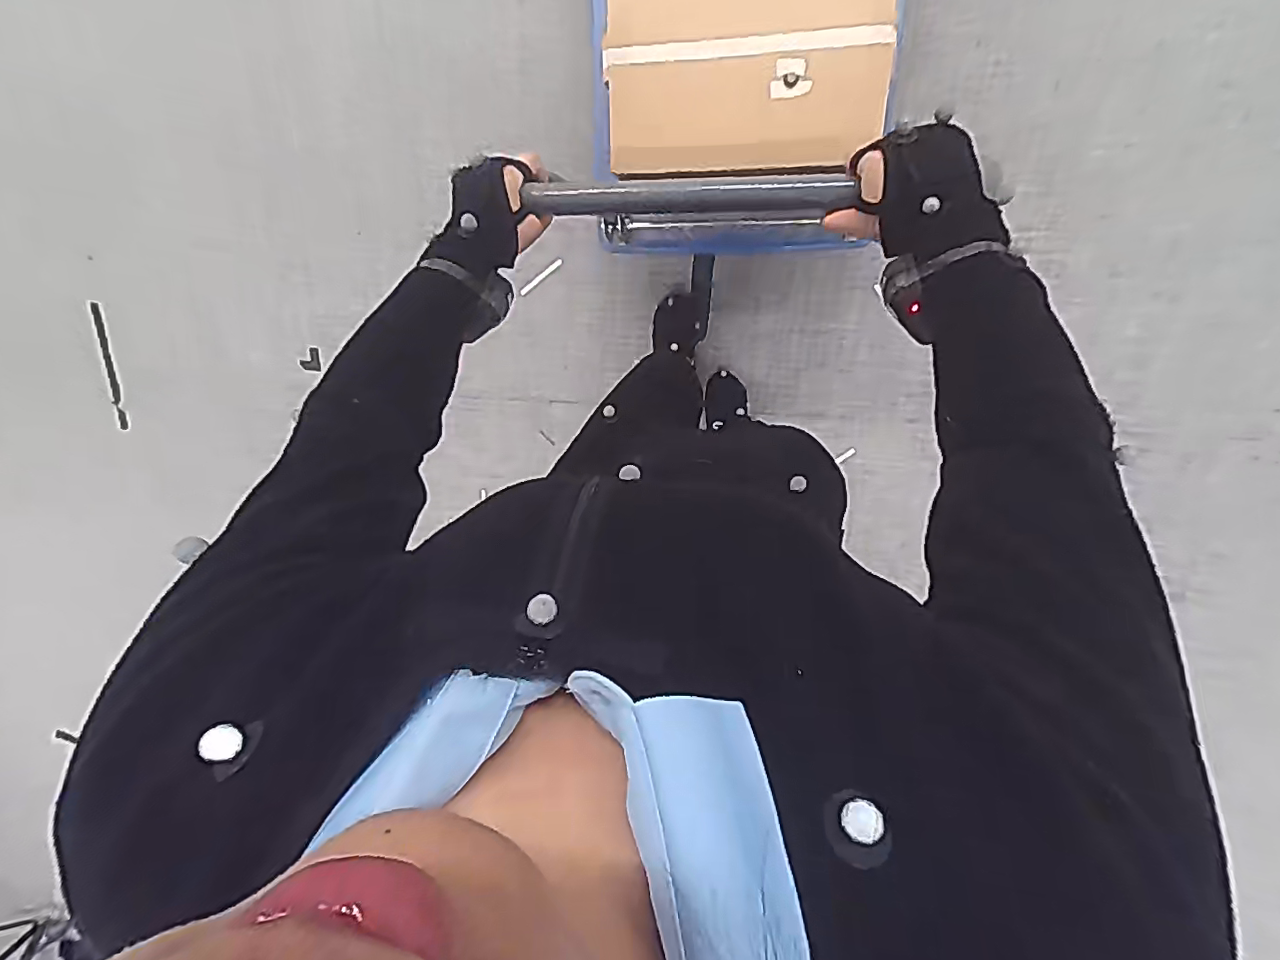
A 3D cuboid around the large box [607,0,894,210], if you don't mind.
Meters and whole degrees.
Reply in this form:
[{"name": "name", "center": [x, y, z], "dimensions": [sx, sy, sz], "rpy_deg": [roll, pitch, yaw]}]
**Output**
[{"name": "large box", "center": [0.171, -0.658, 0.917], "dimensions": [0.408, 0.320, 0.320], "rpy_deg": [2, 109, 8]}]
